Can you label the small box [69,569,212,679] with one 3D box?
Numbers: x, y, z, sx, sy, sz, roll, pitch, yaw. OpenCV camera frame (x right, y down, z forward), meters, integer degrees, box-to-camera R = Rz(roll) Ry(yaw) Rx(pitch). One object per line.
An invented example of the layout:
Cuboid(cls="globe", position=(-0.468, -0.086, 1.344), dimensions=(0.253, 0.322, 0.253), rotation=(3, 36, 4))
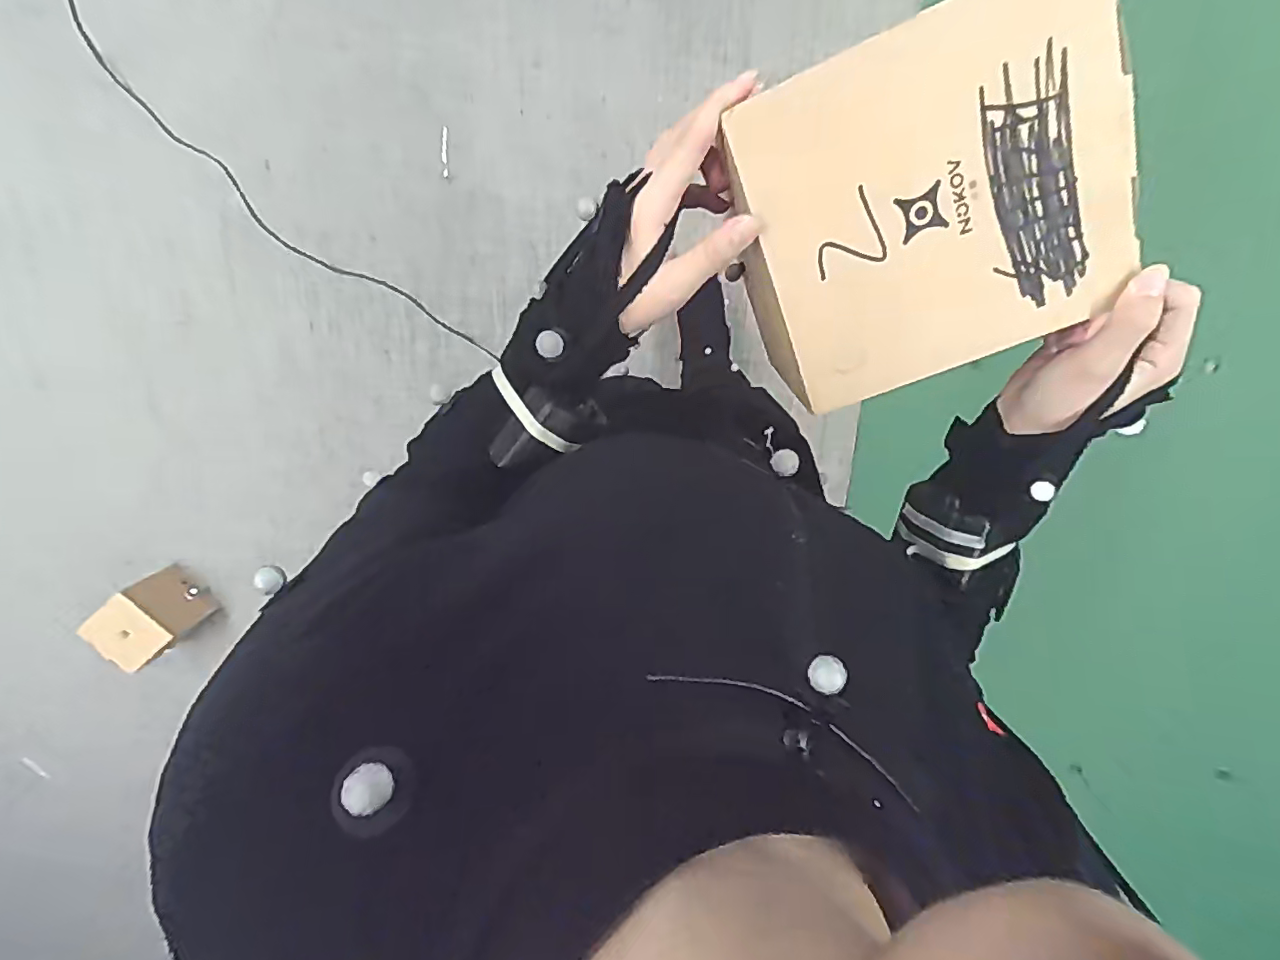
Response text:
Cuboid(cls="small box", position=(-1.264, 0.363, 1.384), dimensions=(0.179, 0.176, 0.168), rotation=(-39, 102, 9))
